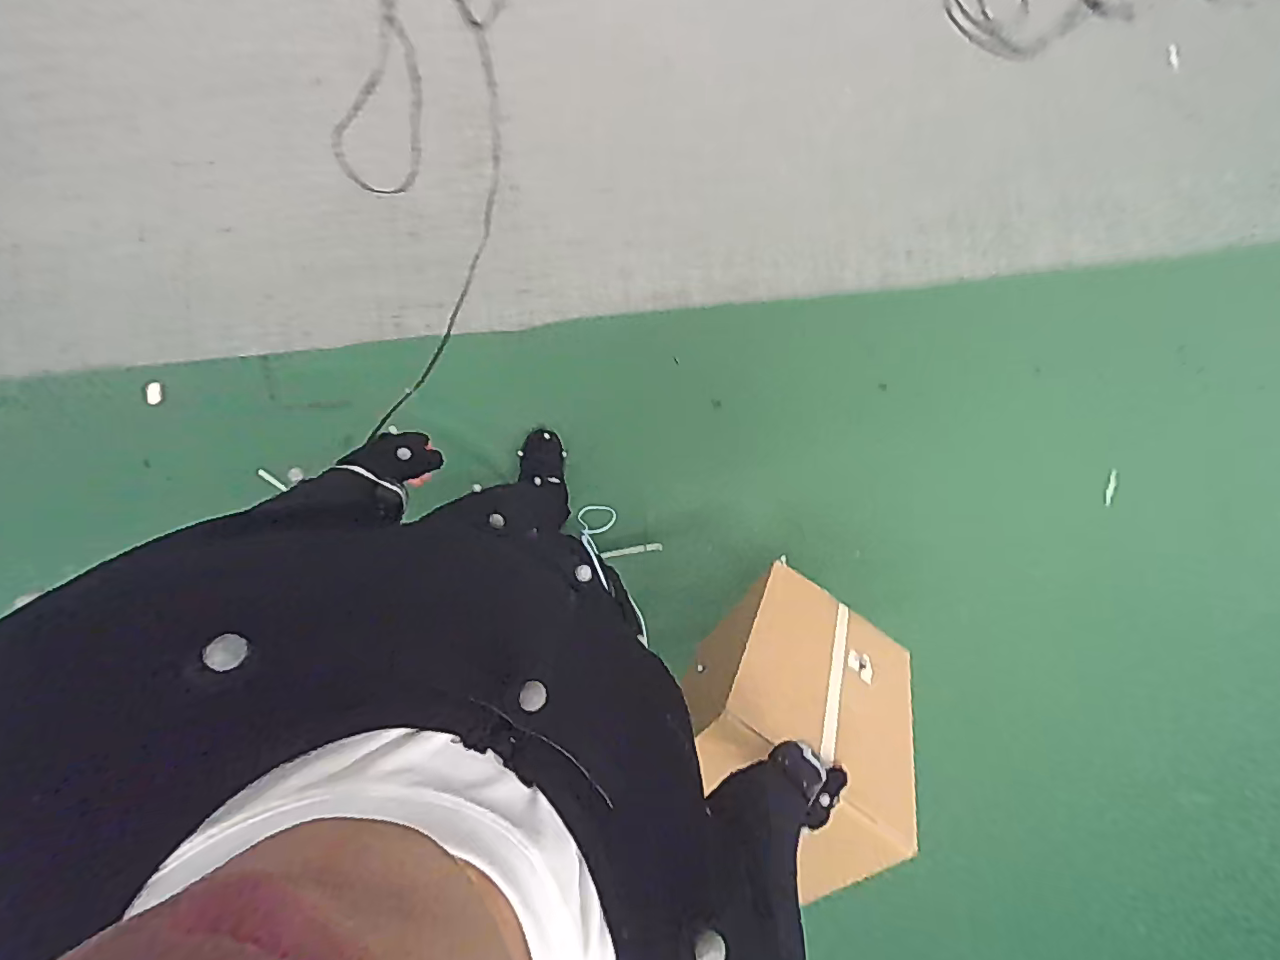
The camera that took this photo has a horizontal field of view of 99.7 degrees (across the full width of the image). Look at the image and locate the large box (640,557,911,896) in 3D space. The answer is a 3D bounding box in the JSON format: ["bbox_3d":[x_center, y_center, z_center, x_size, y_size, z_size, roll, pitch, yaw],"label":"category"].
[{"bbox_3d":[0.253,0.428,0.995,0.320,0.408,0.320,36,123,5],"label":"large box"}]
